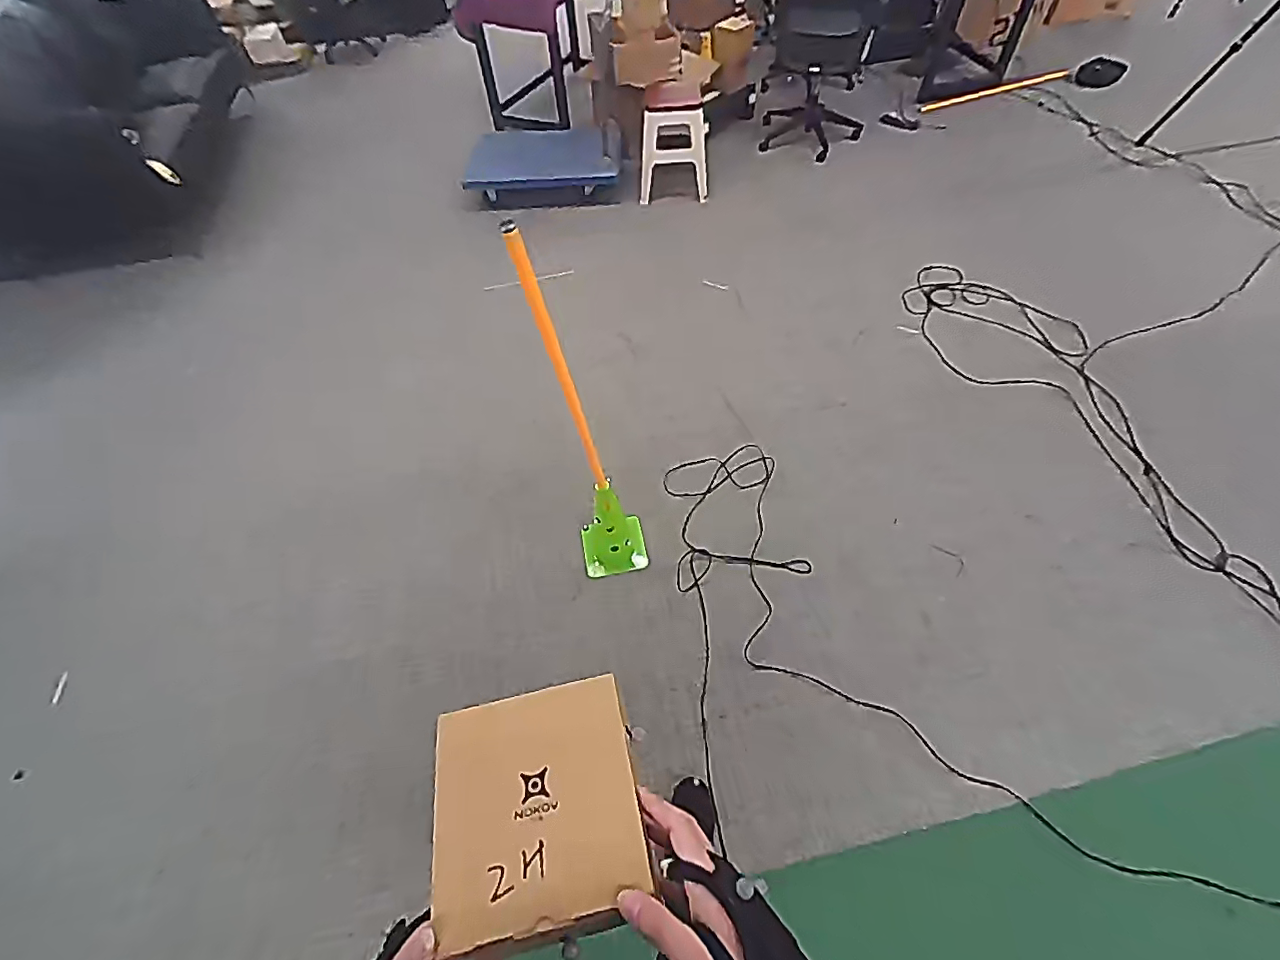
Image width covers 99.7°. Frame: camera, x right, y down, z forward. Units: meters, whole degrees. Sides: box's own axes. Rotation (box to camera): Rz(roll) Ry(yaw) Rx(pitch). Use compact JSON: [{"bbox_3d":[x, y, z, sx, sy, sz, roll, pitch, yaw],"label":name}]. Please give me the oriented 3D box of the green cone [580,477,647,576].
[{"bbox_3d":[-0.094,0.115,1.626,0.202,0.368,0.200,-11,55,-5],"label":"green cone"}]
